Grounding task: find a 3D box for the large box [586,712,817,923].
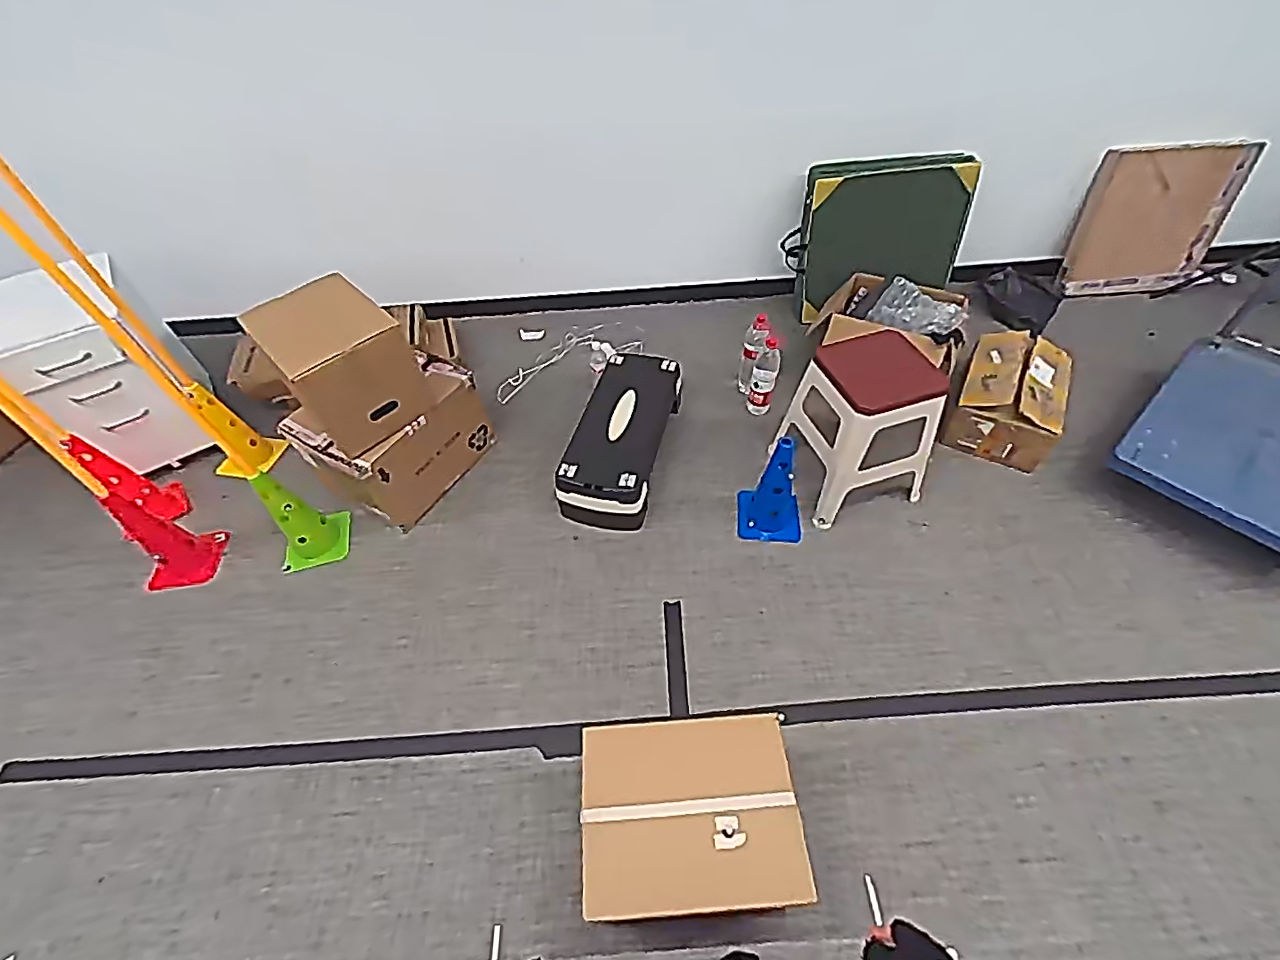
[{"bbox_3d":[0.101,0.709,1.133,0.408,0.320,0.320,-4,51,-1],"label":"large box"}]
